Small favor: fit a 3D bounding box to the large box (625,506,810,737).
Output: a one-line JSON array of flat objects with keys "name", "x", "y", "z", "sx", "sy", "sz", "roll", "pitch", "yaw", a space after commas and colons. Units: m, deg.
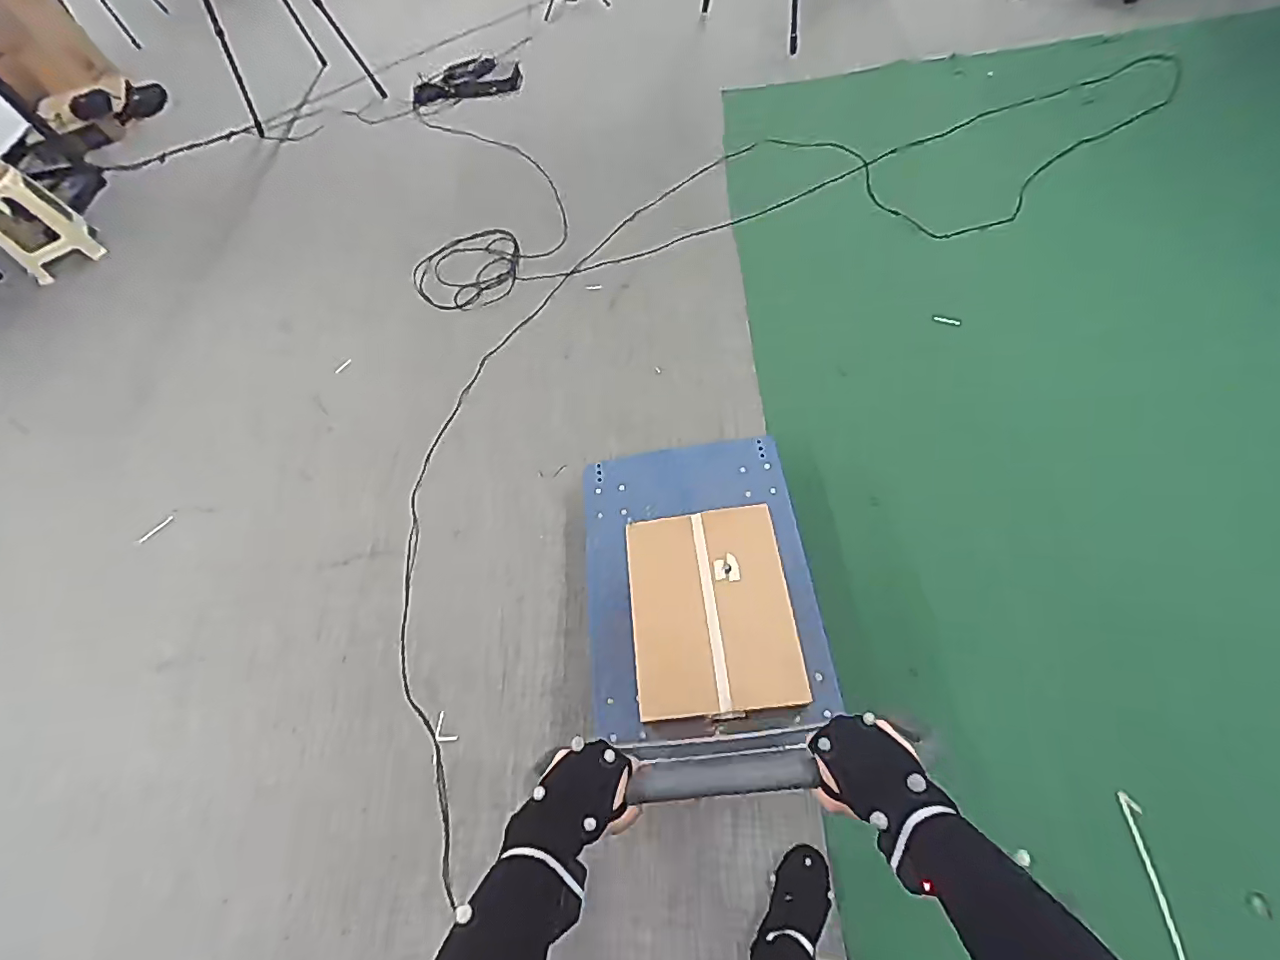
[{"name": "large box", "x": 0.160, "y": 0.323, "z": 1.205, "sx": 0.320, "sy": 0.320, "sz": 0.408, "roll": -8, "pitch": 58, "yaw": 4}]
